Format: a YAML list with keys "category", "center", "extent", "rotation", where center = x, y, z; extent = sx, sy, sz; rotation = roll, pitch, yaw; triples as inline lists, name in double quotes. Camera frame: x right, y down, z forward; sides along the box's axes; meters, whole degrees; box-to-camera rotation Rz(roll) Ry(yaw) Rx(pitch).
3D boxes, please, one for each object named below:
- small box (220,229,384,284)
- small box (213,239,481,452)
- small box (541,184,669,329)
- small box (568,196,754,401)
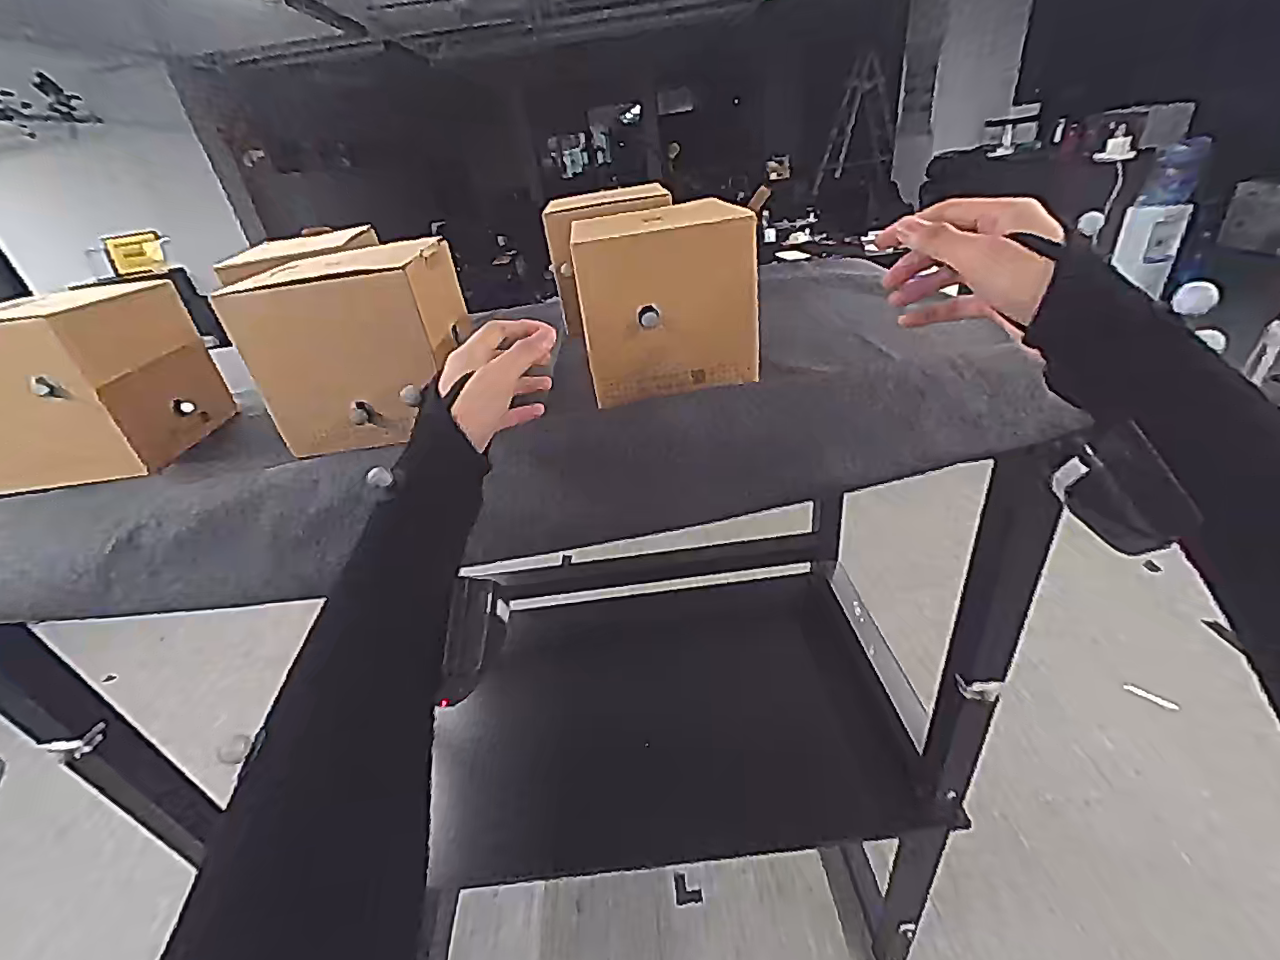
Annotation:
- category: "small box"
  center: [-0.465, -0.266, 0.812]
  extent: [0.168, 0.176, 0.179]
  rotation: [-12, 33, -4]
- category: "small box"
  center: [-0.285, -0.146, 0.581]
  extent: [0.179, 0.176, 0.168]
  rotation: [-8, 32, 0]
- category: "small box"
  center: [-0.038, -0.339, 0.821]
  extent: [0.179, 0.176, 0.168]
  rotation: [-8, 33, 1]
- category: "small box"
  center: [0.022, -0.193, 0.580]
  extent: [0.168, 0.176, 0.179]
  rotation: [-9, 31, -1]
